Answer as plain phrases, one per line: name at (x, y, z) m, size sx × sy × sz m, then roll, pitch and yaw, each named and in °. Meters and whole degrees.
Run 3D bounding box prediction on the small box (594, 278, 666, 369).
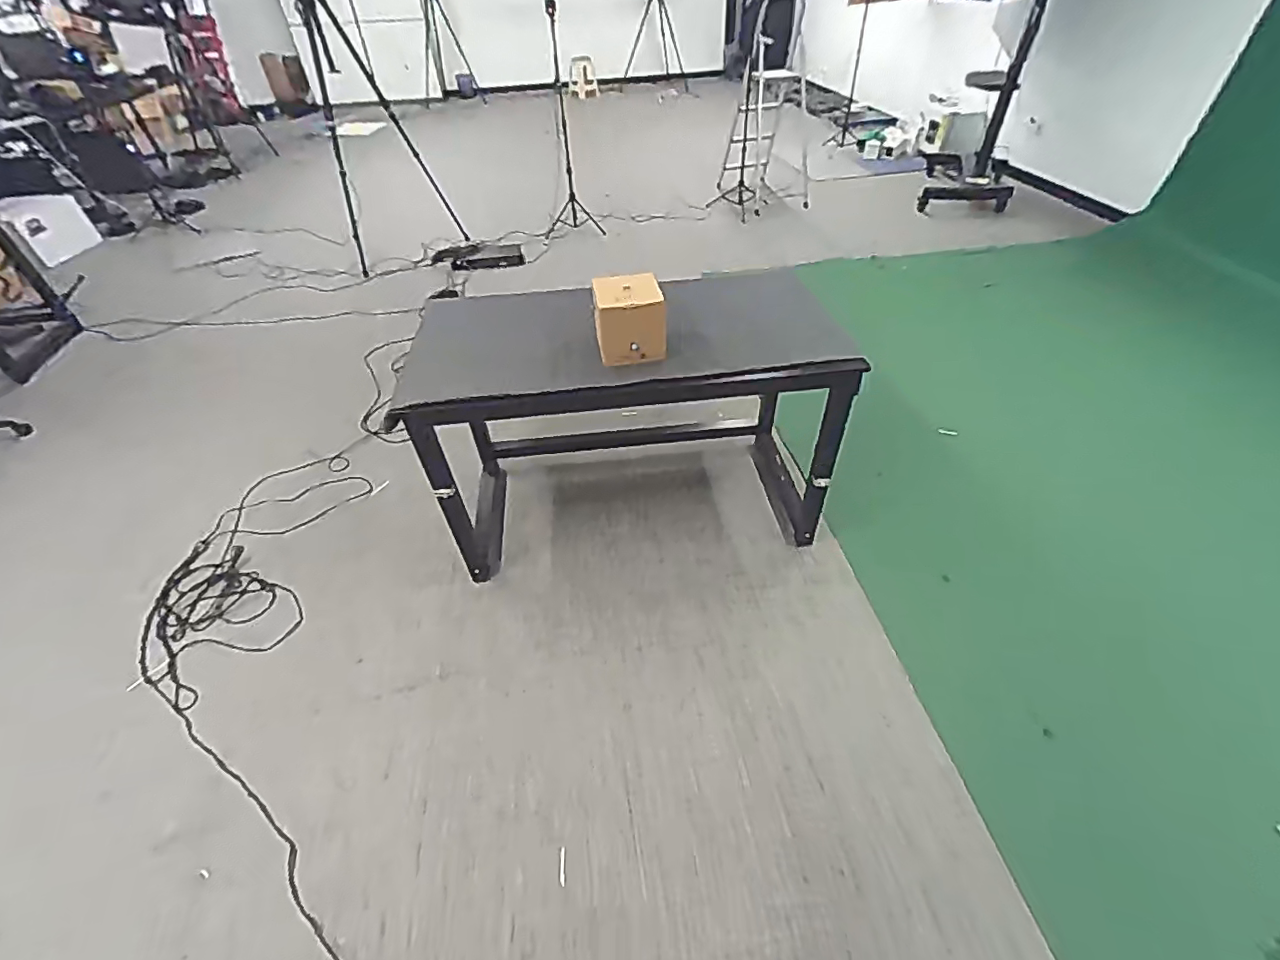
small box at (-0.028, -0.413, 1.428) m, size 0.168 × 0.176 × 0.179 m, roll -8°, pitch 43°, yaw -5°
